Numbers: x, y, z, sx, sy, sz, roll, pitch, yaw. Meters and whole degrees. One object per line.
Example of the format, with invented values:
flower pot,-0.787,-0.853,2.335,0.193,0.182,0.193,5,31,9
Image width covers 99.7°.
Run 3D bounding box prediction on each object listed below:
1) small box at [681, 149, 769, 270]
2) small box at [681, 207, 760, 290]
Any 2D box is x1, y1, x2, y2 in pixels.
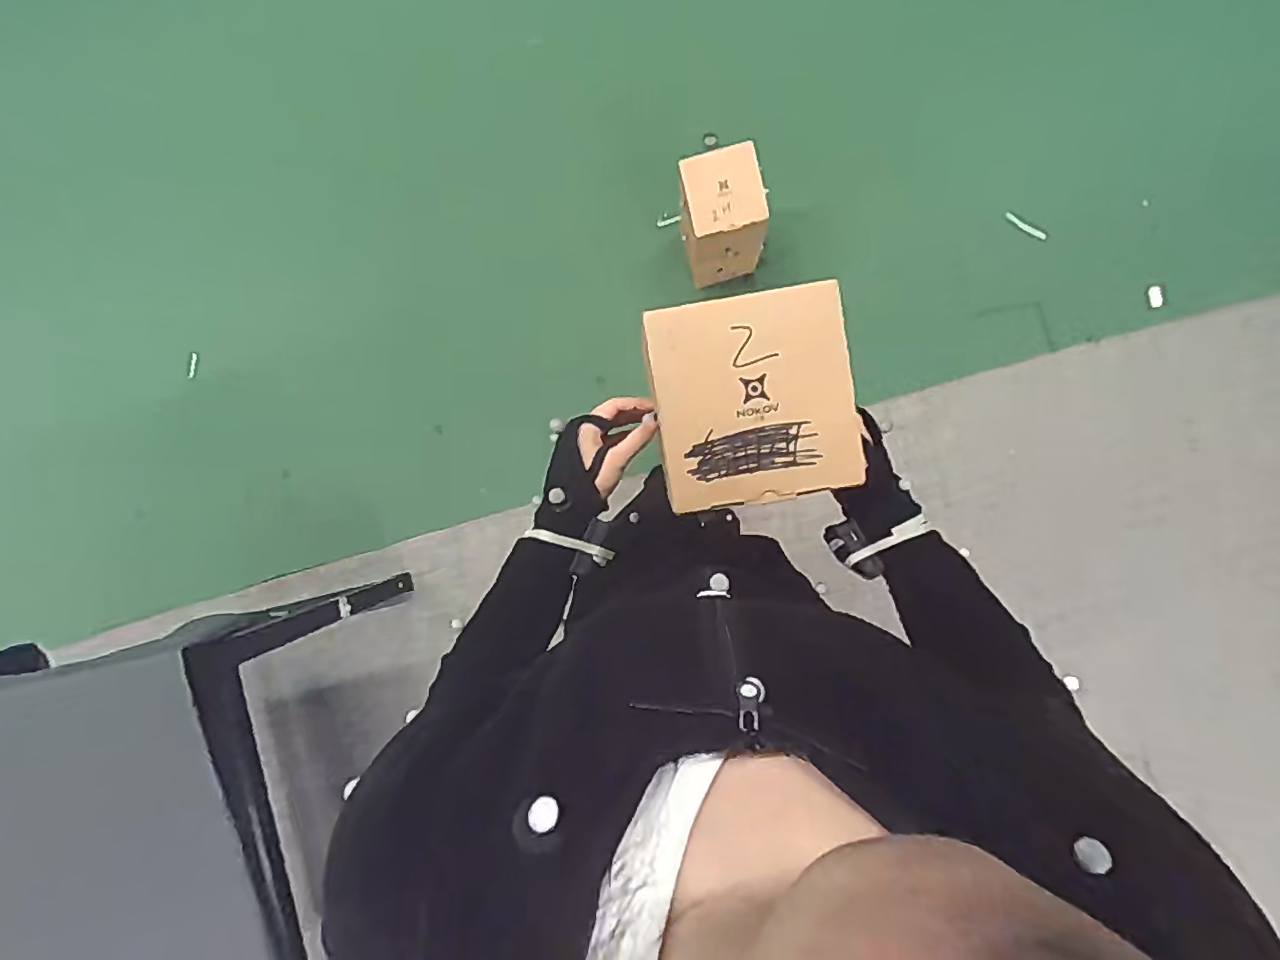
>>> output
small box,0.190,-0.618,1.253,0.168,0.176,0.179,-12,89,6
small box,0.209,-0.618,1.418,0.168,0.176,0.179,-15,88,6
